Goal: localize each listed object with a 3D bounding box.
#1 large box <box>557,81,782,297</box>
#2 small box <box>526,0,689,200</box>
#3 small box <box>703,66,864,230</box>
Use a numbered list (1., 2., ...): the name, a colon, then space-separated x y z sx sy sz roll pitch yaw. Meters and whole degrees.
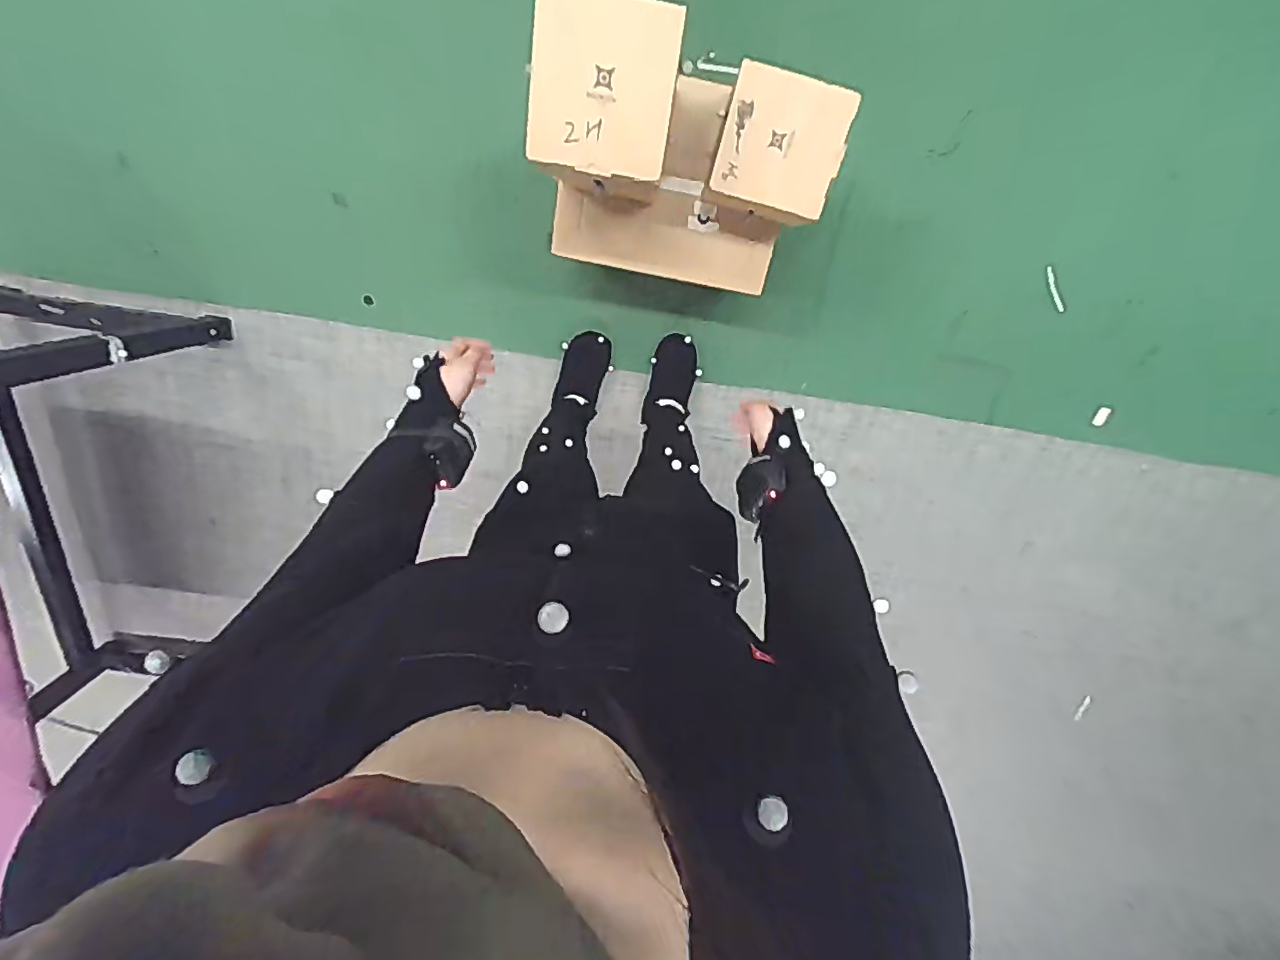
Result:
1. large box: 0.065 -0.569 1.082 0.408 0.320 0.320 10 114 -3
2. small box: -0.039 -0.471 0.684 0.168 0.176 0.179 9 113 -2
3. small box: 0.208 -0.498 0.840 0.179 0.176 0.168 15 112 -4
